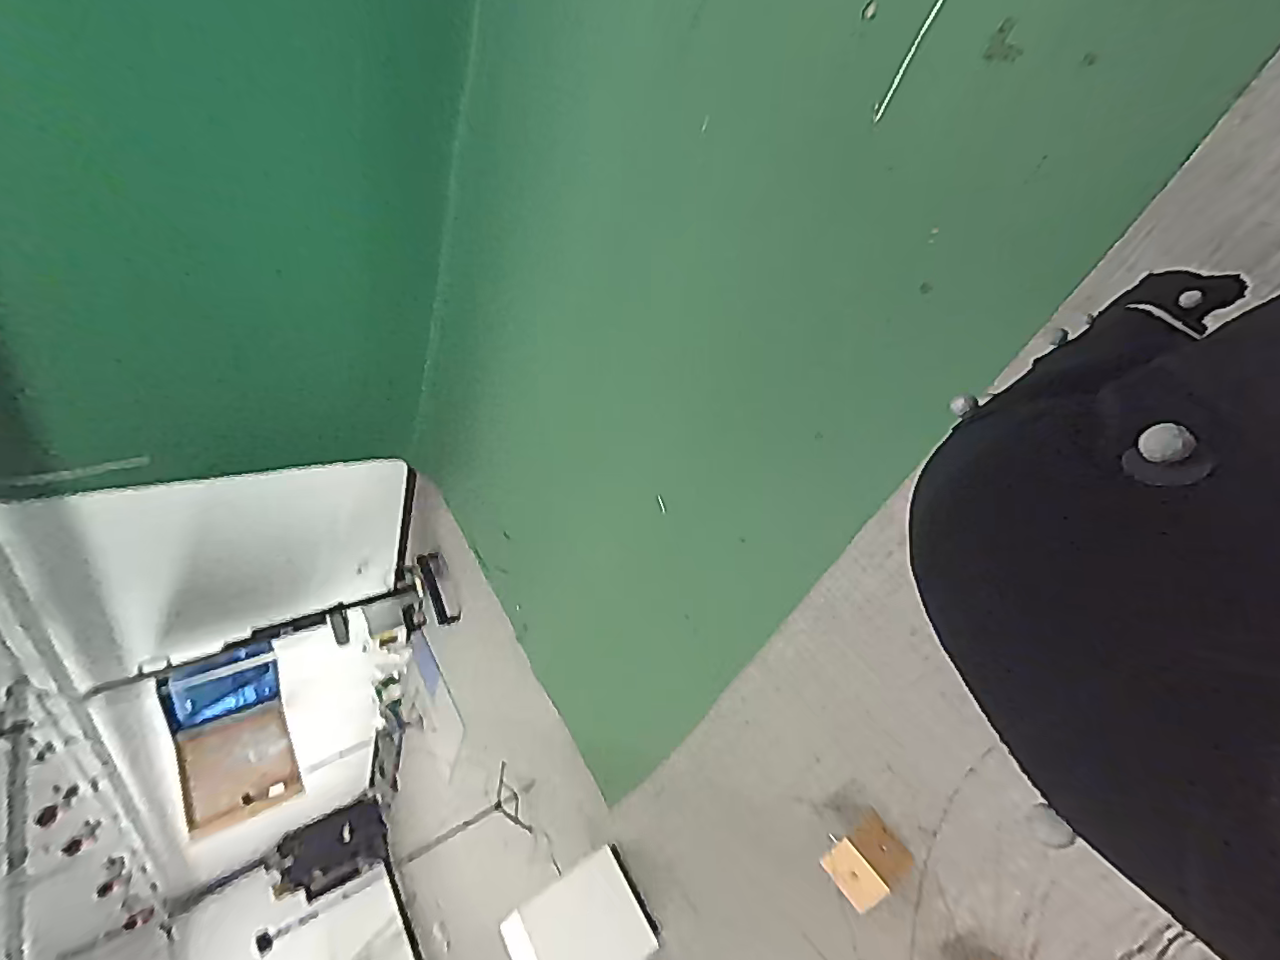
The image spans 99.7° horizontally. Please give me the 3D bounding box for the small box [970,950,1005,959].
[{"bbox_3d":[0.956,1.443,1.467,0.168,0.176,0.179,44,128,33],"label":"small box"}]

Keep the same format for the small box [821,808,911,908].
[{"bbox_3d":[0.711,1.172,1.688,0.168,0.176,0.179,46,130,34],"label":"small box"}]
